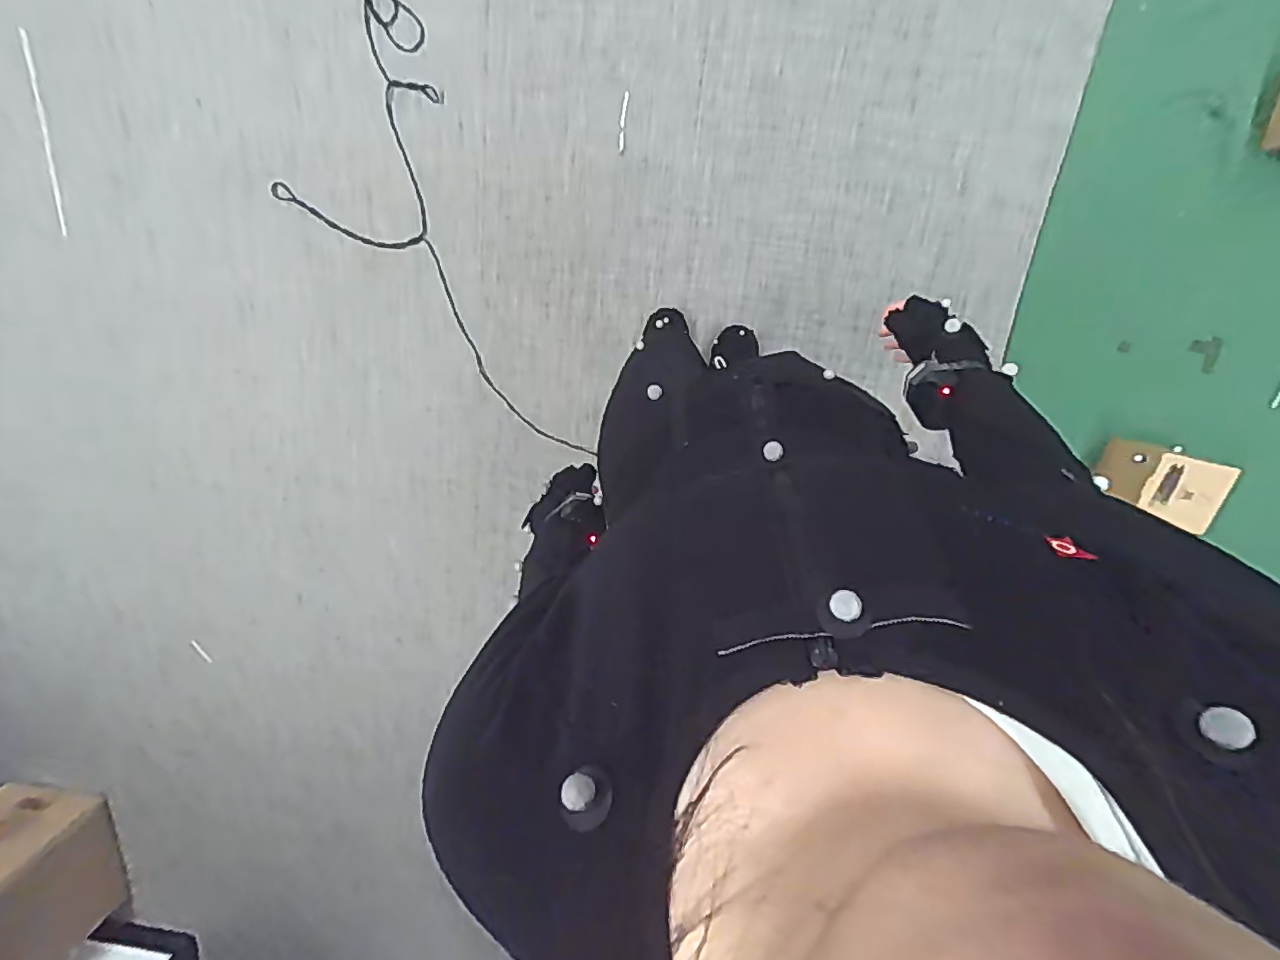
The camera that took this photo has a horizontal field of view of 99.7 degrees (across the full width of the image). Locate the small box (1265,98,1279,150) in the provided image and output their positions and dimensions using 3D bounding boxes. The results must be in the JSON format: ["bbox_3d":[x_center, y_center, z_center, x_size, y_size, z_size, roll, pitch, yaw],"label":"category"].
[{"bbox_3d":[1.407,-0.757,1.053,0.168,0.176,0.179,5,106,4],"label":"small box"}]
